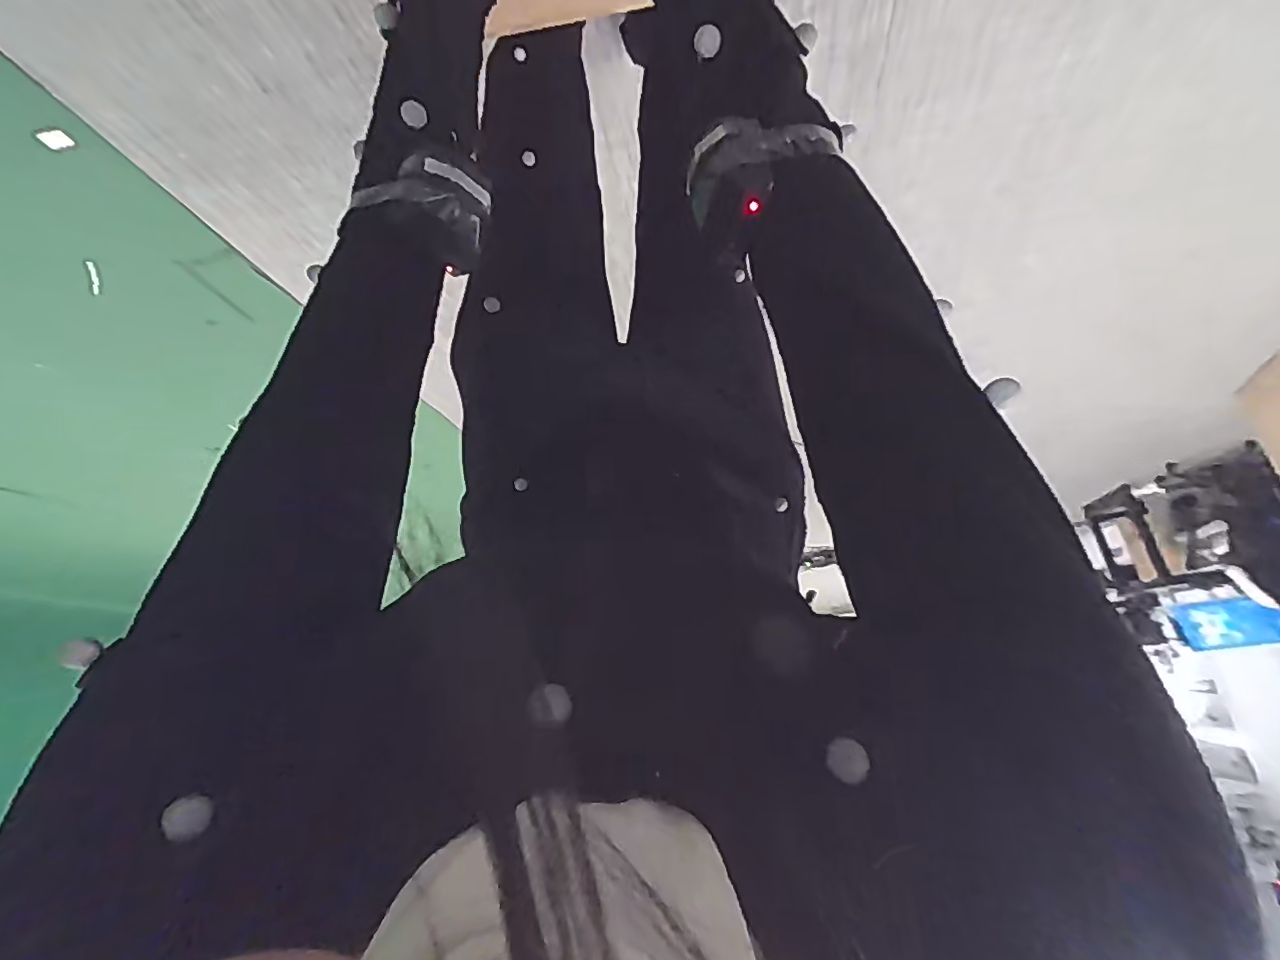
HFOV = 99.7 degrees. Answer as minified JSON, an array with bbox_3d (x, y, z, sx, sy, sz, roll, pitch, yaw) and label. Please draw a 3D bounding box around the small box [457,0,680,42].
[{"bbox_3d":[-0.066,-0.463,0.379,0.179,0.176,0.168,-7,158,5],"label":"small box"}]
